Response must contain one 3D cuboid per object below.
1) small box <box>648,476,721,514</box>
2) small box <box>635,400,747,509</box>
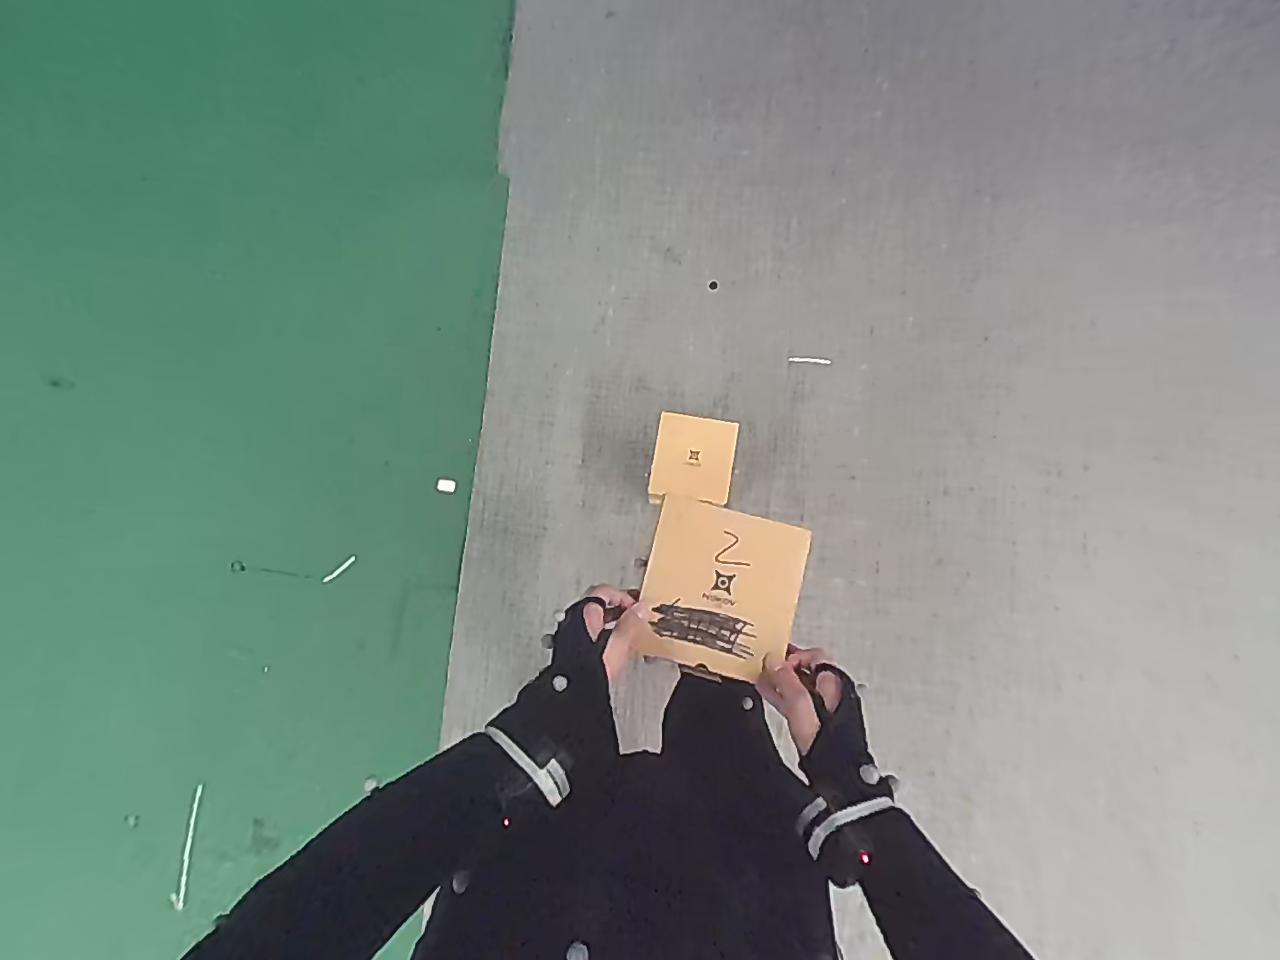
[{"bbox_3d":[0.121,-0.013,1.357,0.168,0.176,0.179,10,85,4],"label":"small box"},{"bbox_3d":[0.112,-0.046,1.205,0.179,0.176,0.168,41,91,7],"label":"small box"}]
